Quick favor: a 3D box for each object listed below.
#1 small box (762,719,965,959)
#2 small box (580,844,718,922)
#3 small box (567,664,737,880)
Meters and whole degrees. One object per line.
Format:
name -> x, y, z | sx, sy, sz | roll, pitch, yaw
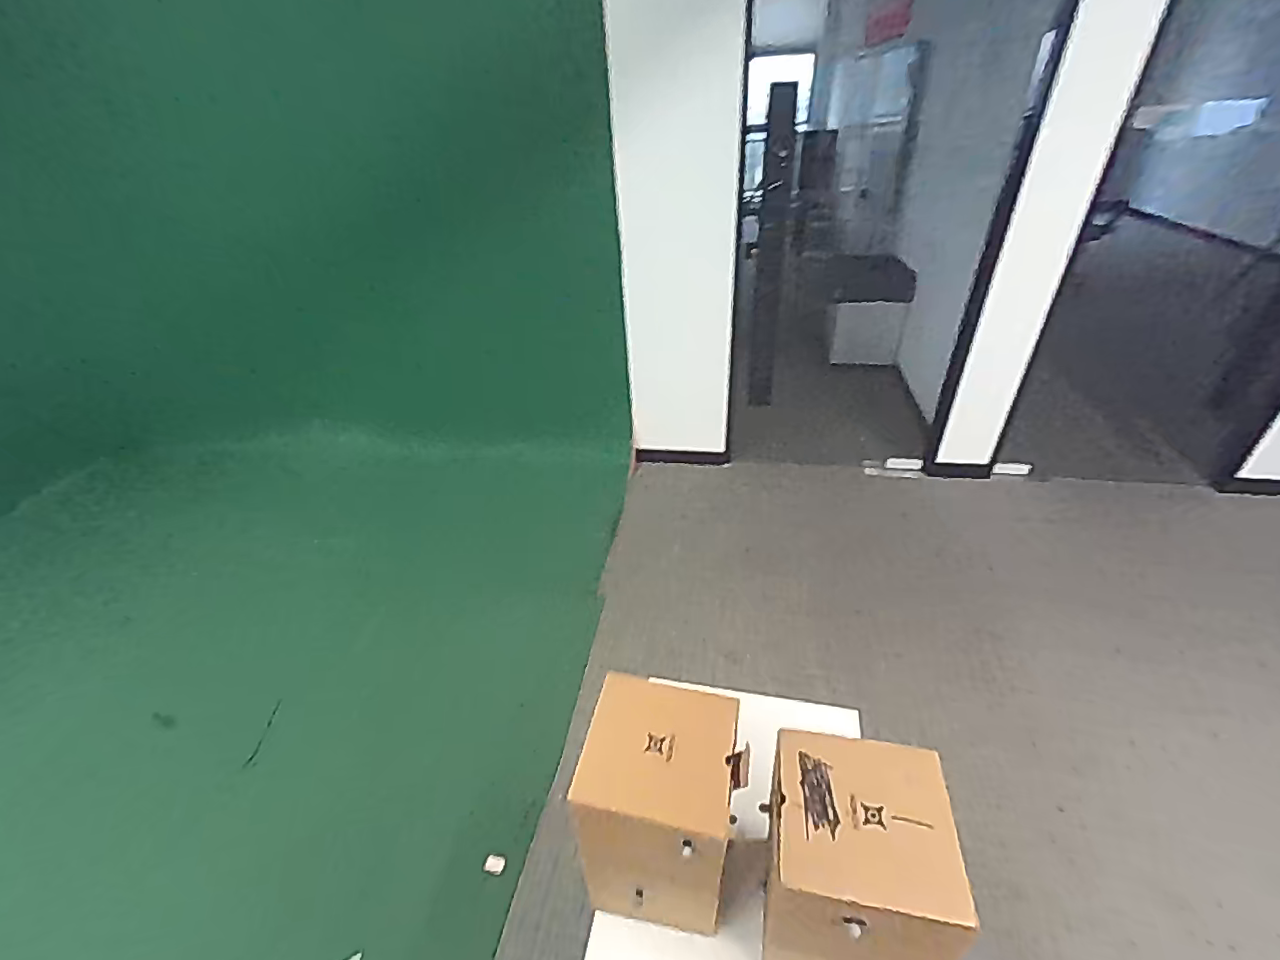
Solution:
small box -> 0.233, 0.406, 0.613 | 0.179, 0.176, 0.168 | 5, 36, 12
small box -> 0.025, 0.499, 0.781 | 0.179, 0.176, 0.168 | 6, 36, 10
small box -> 0.021, 0.367, 0.684 | 0.179, 0.176, 0.168 | 8, 36, 11
